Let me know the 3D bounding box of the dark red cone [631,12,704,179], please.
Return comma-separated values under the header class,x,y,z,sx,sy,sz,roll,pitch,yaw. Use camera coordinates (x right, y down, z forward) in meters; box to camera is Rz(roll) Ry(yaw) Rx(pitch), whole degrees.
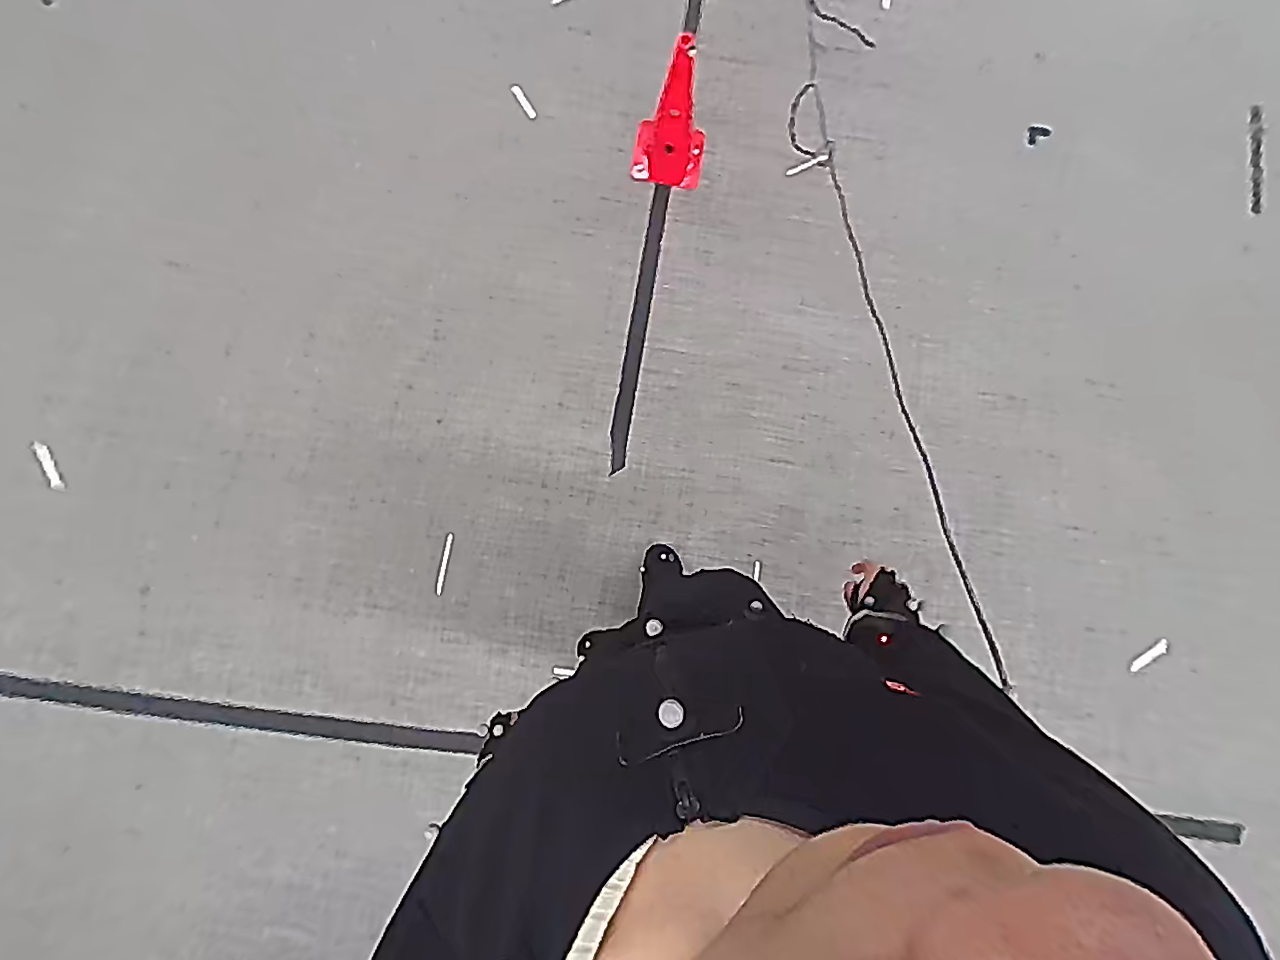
class,x,y,z,sx,sy,sz,roll,pitch,yaw
dark red cone,0.094,-0.994,1.396,0.201,0.394,0.202,8,80,-4
